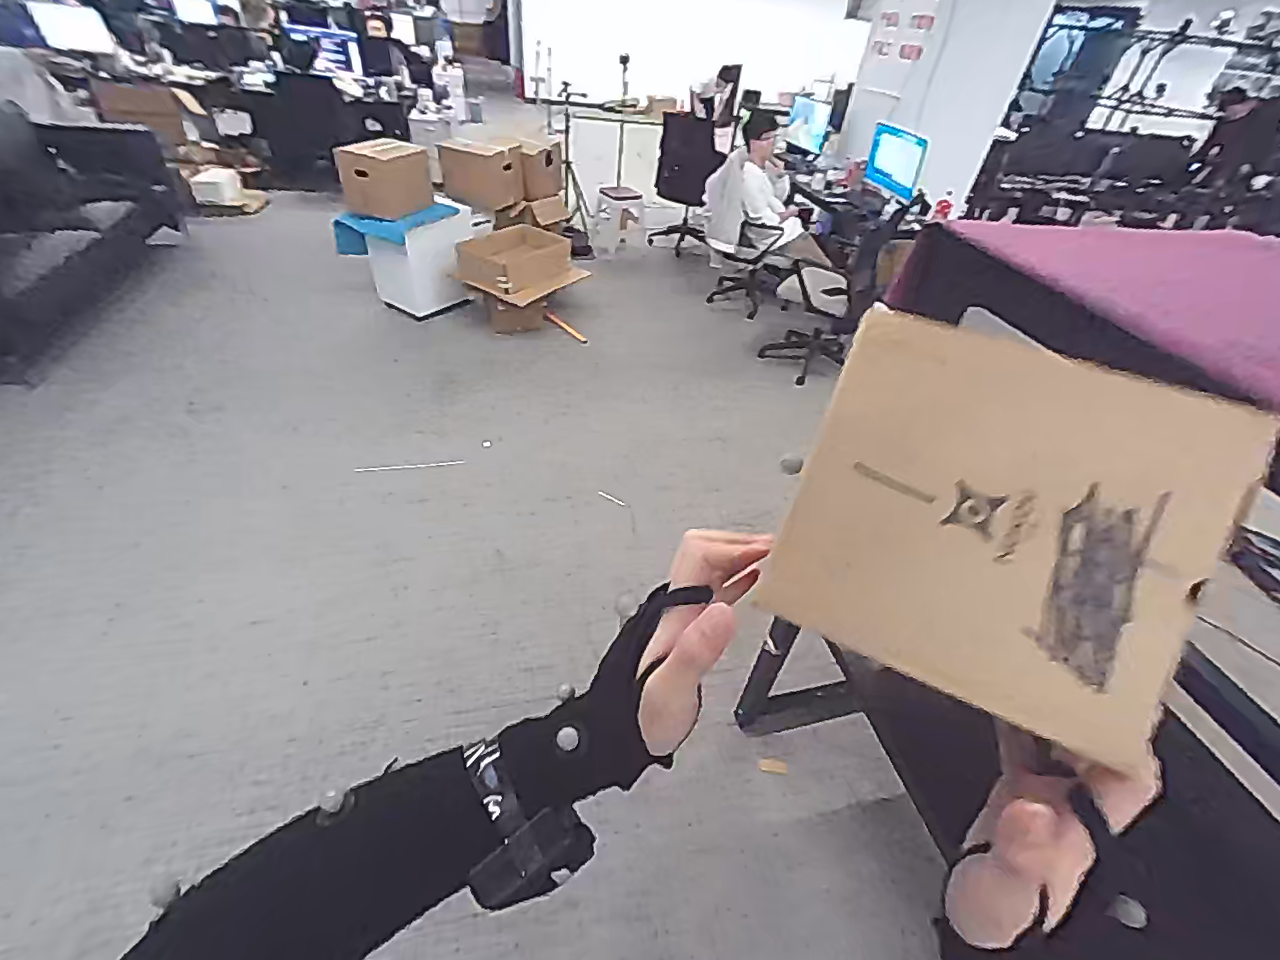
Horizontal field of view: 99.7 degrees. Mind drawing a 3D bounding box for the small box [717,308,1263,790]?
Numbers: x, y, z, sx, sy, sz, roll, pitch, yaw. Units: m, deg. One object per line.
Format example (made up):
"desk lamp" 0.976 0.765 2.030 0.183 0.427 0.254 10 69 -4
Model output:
"small box" 0.165 0.029 0.319 0.179 0.168 0.176 24 0 16
